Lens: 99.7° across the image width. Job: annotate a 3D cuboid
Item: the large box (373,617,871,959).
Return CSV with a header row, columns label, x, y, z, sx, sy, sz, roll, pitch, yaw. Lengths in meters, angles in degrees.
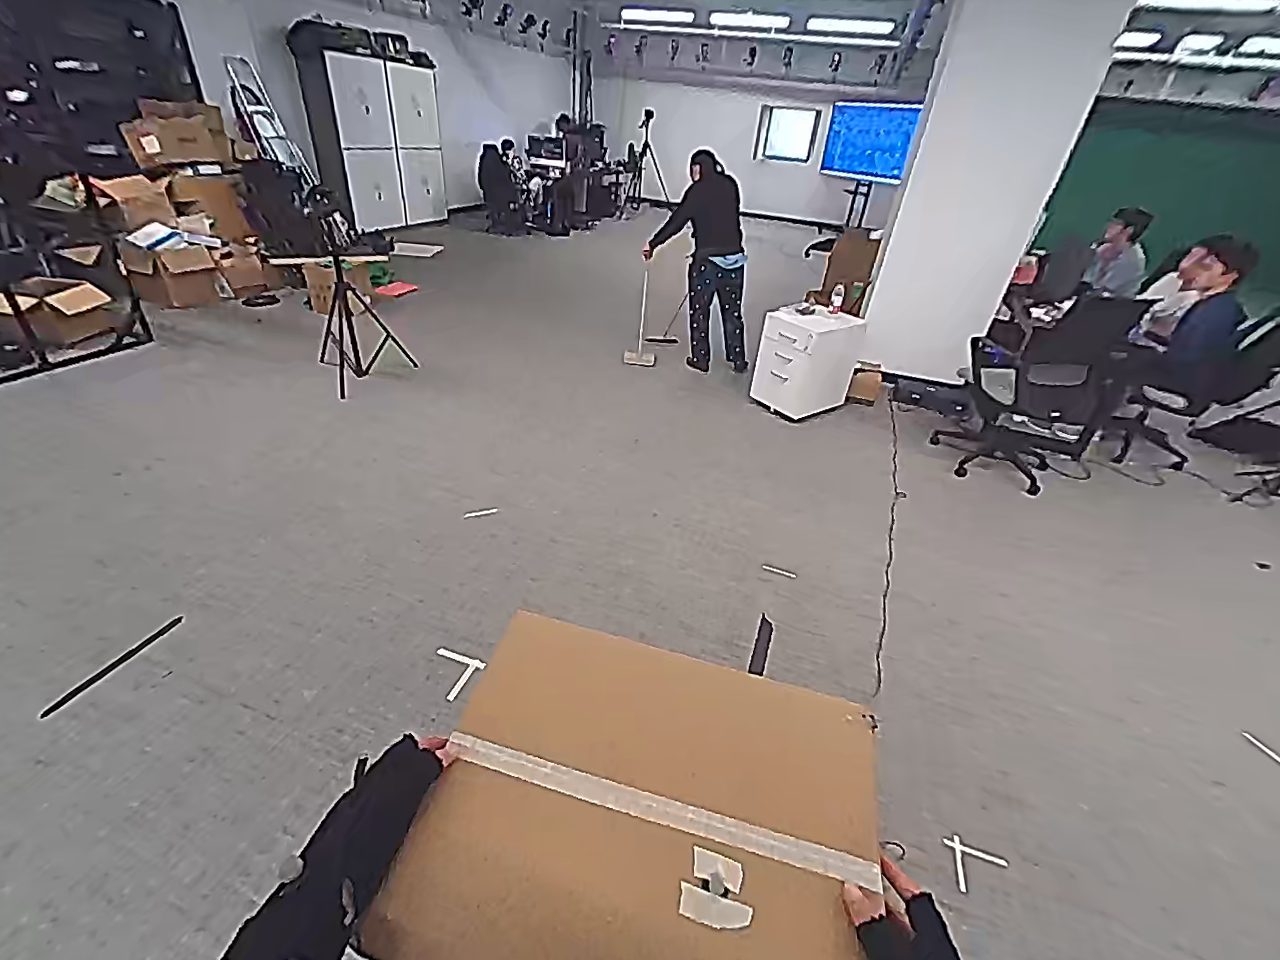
label,x,y,z,sx,sy,sz,roll,pitch,yaw
large box,0.001,0.410,0.612,0.408,0.320,0.320,13,45,8
